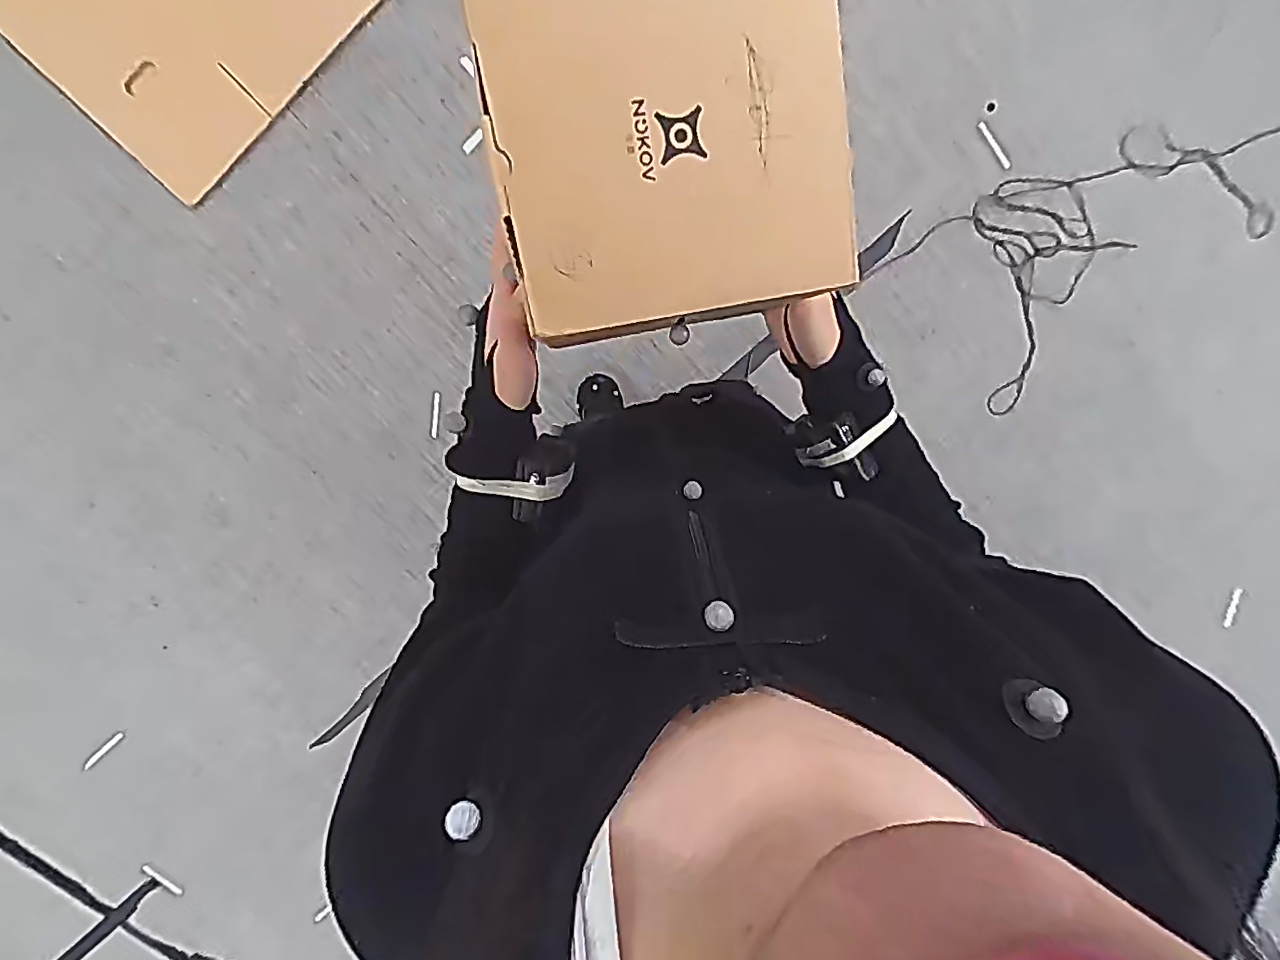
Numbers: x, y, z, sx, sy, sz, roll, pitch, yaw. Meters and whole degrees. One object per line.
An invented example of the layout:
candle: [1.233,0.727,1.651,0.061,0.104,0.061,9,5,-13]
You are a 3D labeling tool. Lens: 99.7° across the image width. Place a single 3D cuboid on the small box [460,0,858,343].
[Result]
small box: [0.009,-0.184,0.340,0.179,0.176,0.168,-11,103,-3]
